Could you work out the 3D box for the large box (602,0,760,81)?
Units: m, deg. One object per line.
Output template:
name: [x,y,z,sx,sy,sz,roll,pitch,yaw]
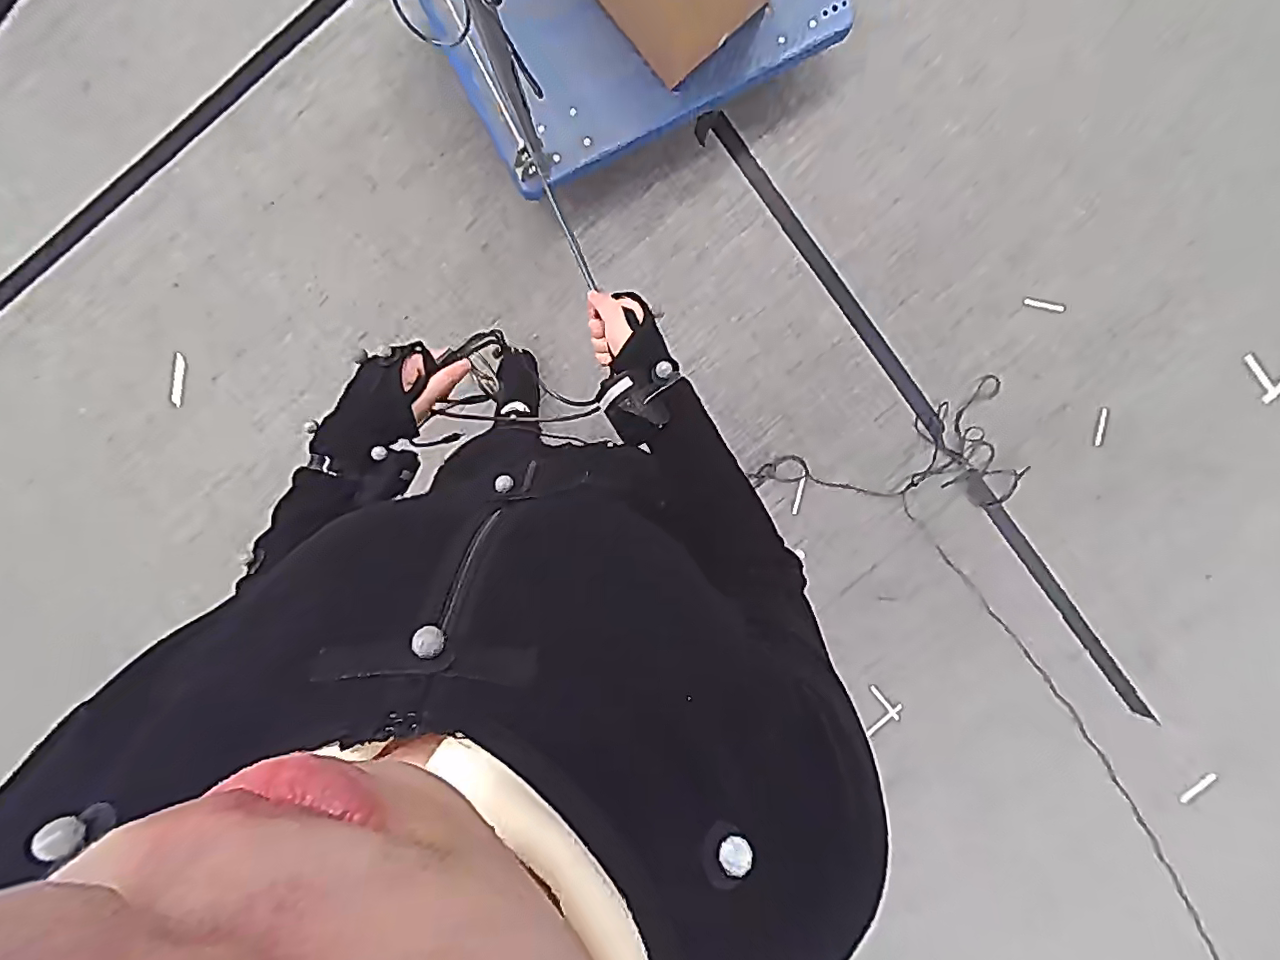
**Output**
large box: [0.057,-1.113,1.034,0.320,0.320,0.408,-43,98,2]
